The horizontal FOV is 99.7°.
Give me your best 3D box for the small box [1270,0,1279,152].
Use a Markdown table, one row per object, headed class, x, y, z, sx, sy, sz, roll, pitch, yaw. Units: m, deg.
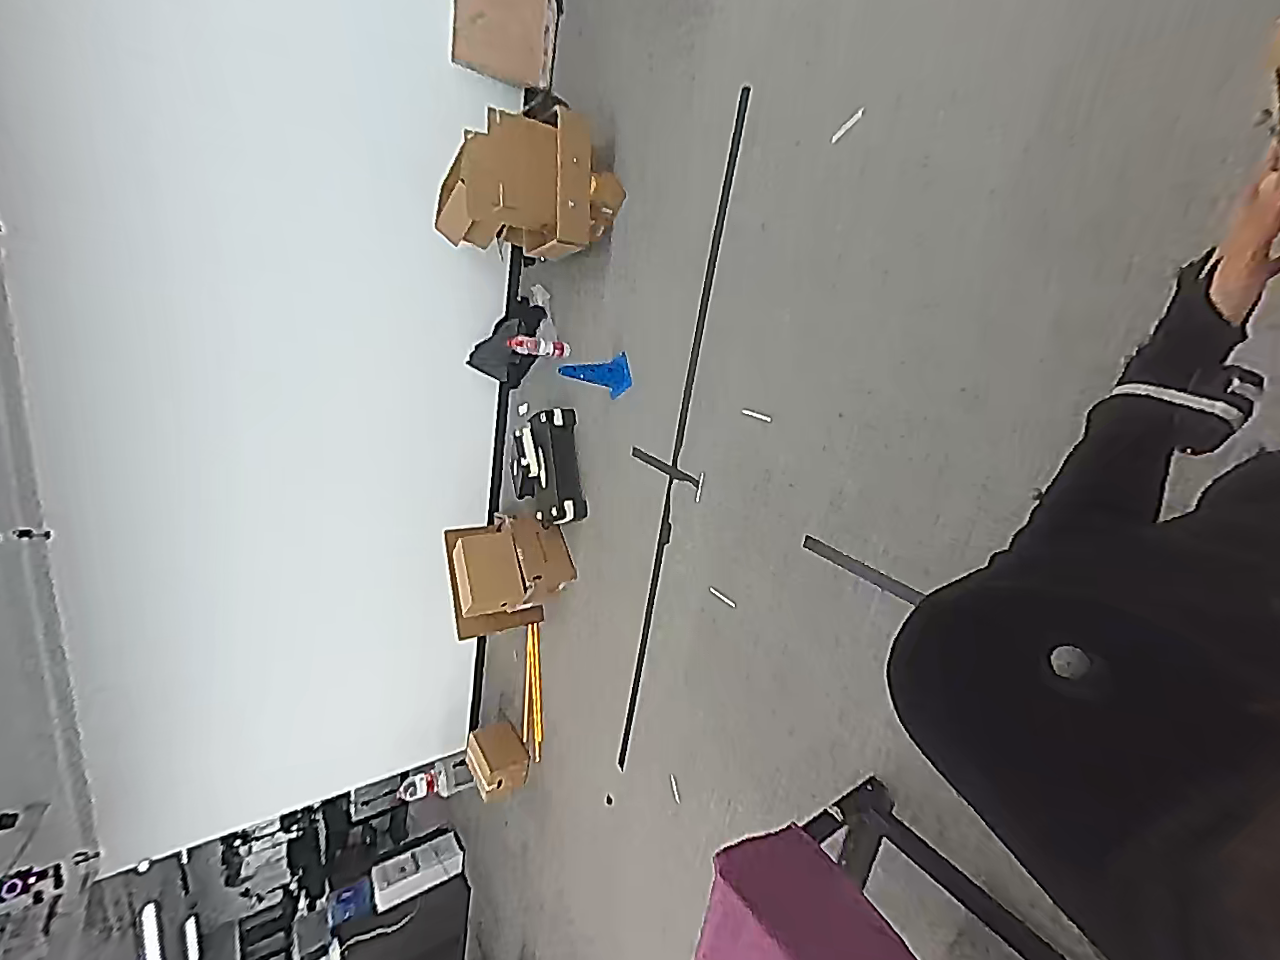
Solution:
| class | x | y | z | sx | sy | sz | roll | pitch | yaw |
| --- | --- | --- | --- | --- | --- | --- | --- | --- | --- |
| small box | 0.539 | -0.253 | 0.341 | 0.179 | 0.176 | 0.168 | -6 | 99 | 49 |
